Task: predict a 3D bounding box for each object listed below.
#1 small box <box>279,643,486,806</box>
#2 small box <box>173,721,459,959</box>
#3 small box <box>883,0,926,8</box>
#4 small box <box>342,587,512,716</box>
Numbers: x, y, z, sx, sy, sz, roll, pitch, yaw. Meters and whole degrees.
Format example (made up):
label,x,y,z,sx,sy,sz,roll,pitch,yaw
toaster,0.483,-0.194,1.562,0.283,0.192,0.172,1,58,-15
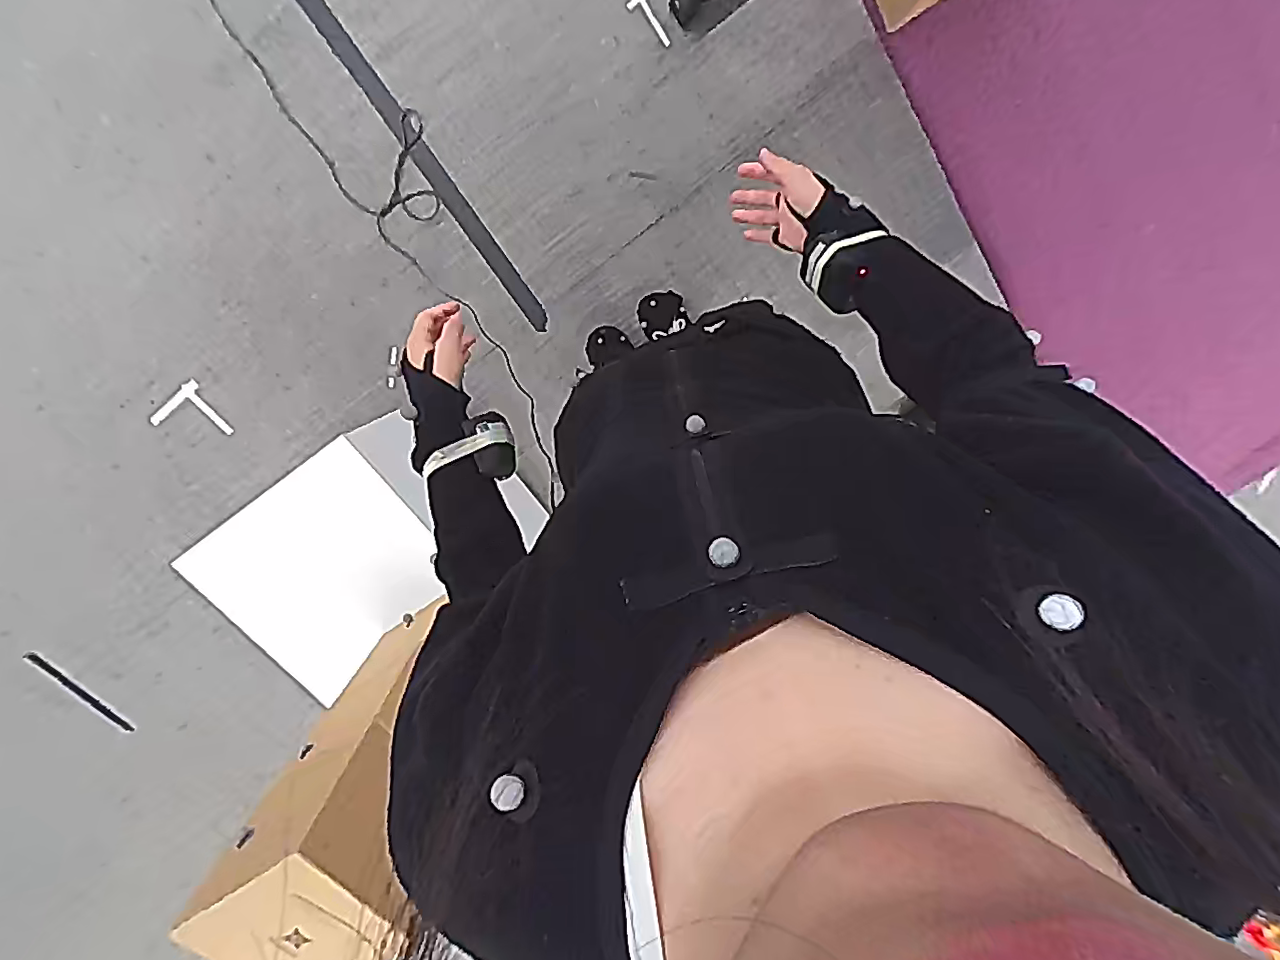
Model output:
label,x,y,z,sx,sy,sz,roll,pitch,yaw
small box,-0.336,0.364,0.752,0.179,0.176,0.168,-35,106,9
small box,-0.332,0.414,0.598,0.179,0.176,0.168,-35,107,8
small box,0.309,-0.592,0.496,0.168,0.176,0.179,-31,106,7
small box,-0.342,0.315,0.908,0.179,0.176,0.168,-33,106,9
